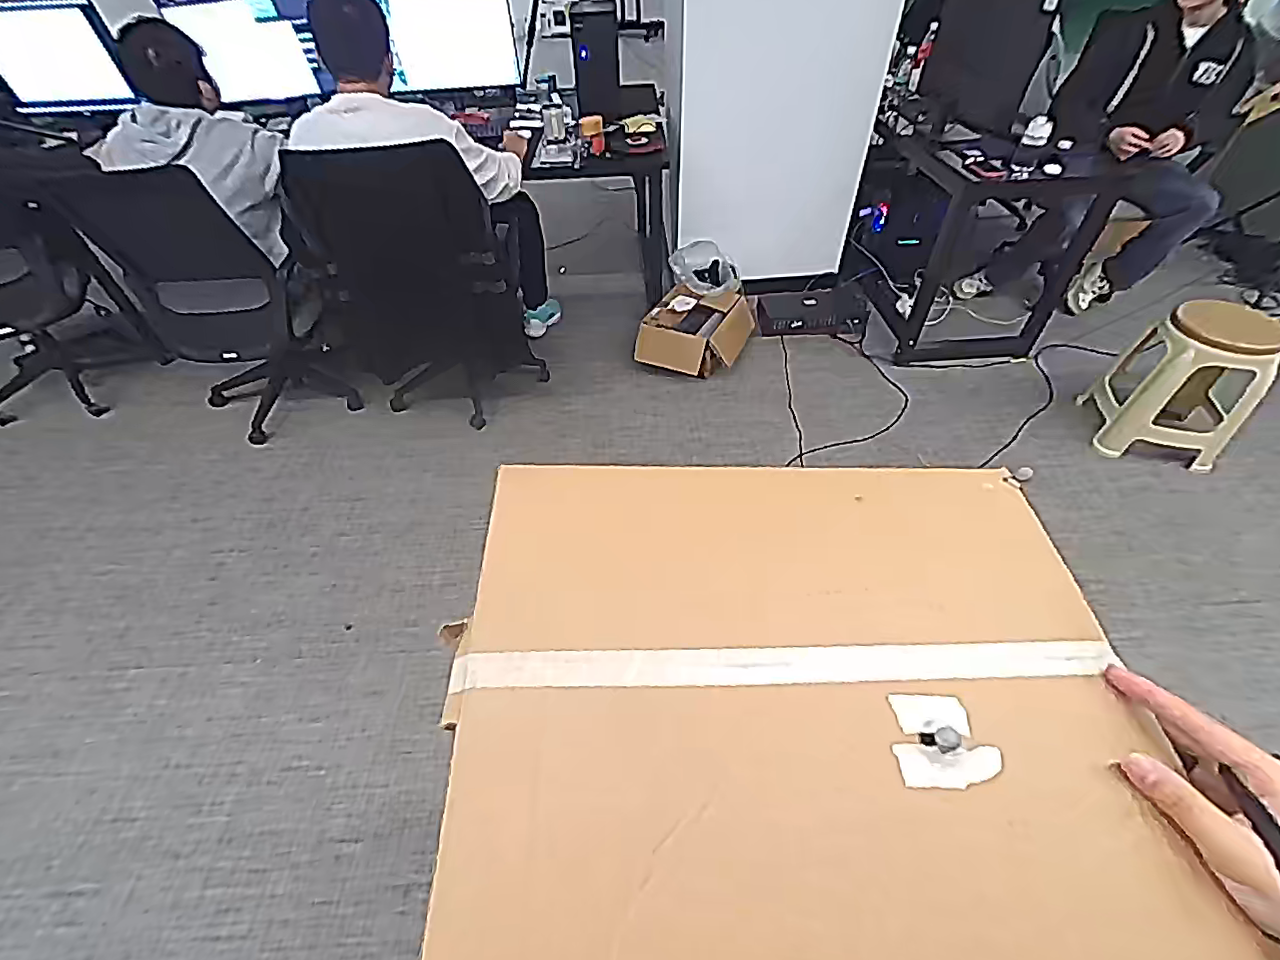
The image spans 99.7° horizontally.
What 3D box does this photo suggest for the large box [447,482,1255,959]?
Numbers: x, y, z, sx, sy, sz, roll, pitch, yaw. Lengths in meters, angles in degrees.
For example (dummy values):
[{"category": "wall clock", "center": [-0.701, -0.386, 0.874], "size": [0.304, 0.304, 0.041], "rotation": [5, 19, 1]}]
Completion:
[{"category": "large box", "center": [0.090, 0.214, 0.457], "size": [0.408, 0.320, 0.320], "rotation": [0, 53, -4]}]
